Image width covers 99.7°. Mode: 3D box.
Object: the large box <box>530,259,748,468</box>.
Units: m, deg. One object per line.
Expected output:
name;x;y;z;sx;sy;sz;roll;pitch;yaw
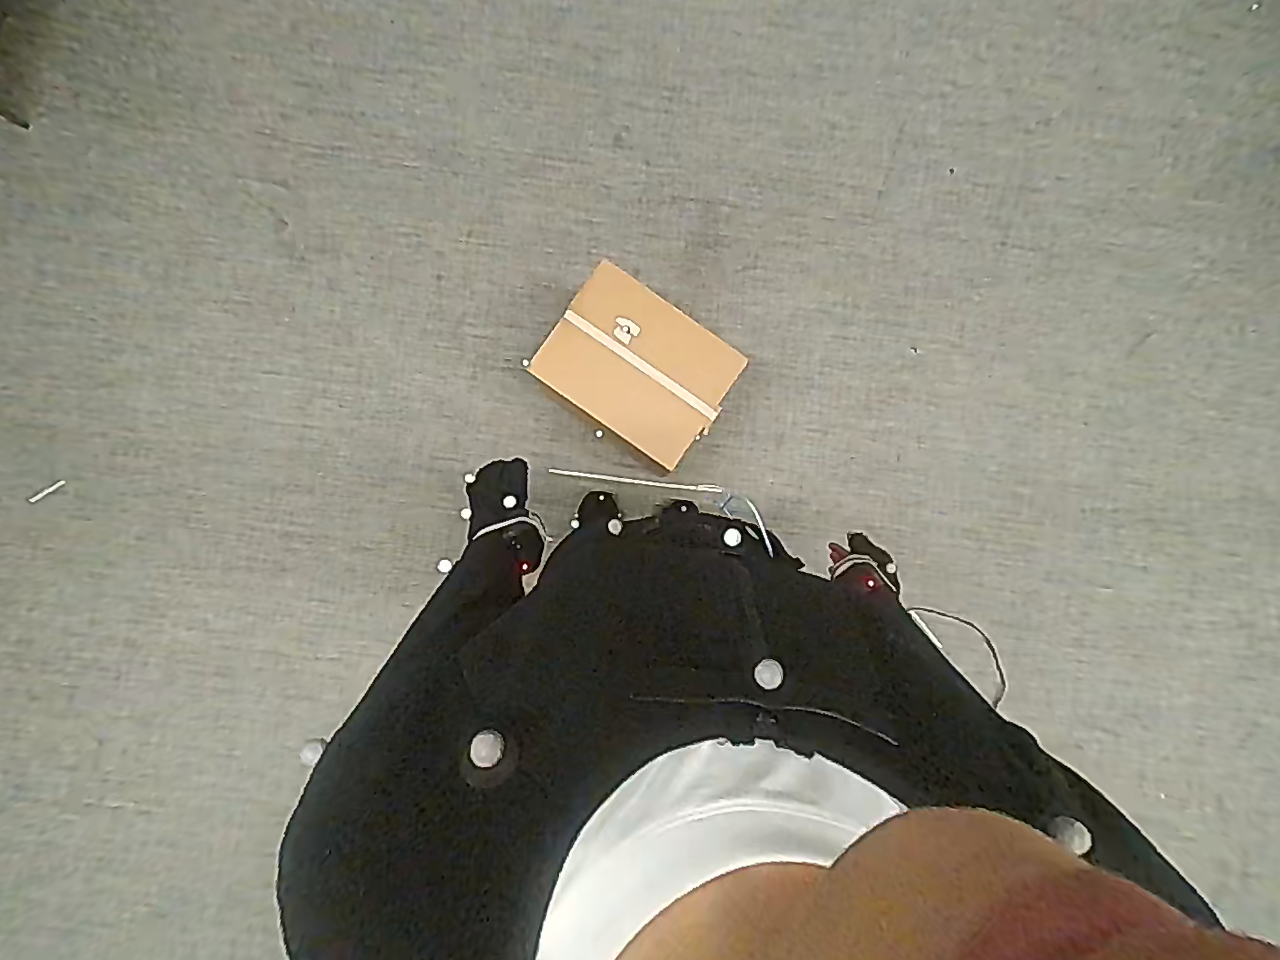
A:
large box;-0.002;-0.265;1.365;0.408;0.320;0.320;35;87;0
